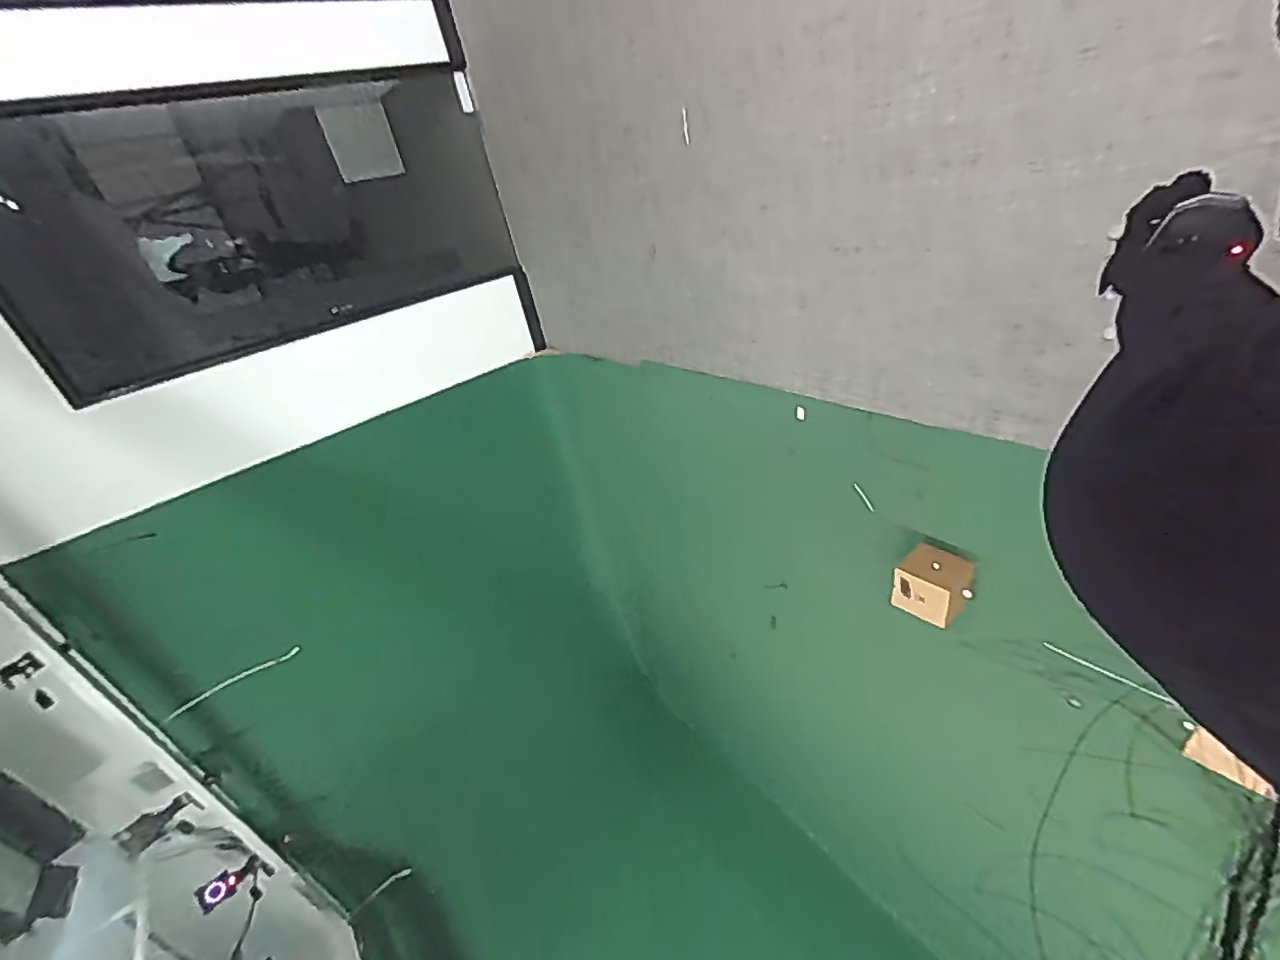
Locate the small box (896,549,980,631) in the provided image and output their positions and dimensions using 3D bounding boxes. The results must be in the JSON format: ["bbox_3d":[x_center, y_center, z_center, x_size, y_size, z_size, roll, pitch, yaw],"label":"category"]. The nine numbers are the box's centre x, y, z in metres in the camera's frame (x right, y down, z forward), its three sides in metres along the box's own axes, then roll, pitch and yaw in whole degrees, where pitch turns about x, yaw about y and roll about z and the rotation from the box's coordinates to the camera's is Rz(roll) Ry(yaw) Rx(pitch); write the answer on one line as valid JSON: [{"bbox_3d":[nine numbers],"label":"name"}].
[{"bbox_3d":[0.967,0.349,1.760,0.179,0.176,0.168,26,138,45],"label":"small box"}]
